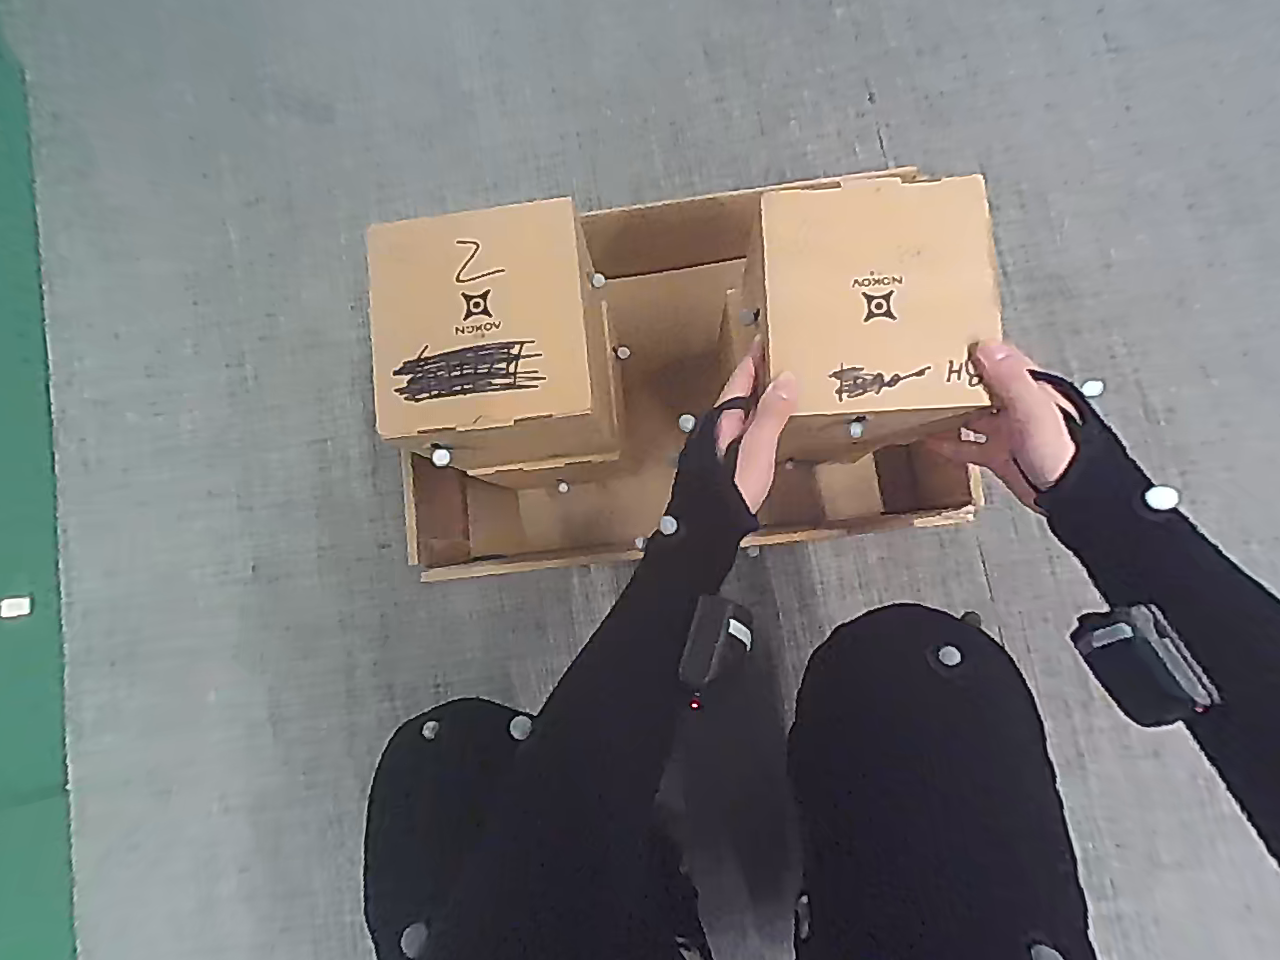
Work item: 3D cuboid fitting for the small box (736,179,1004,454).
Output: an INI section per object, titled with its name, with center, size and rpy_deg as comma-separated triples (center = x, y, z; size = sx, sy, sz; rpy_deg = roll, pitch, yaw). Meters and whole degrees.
[small box]
center = 0.177, -0.125, 0.473
size = 0.168, 0.176, 0.179
rpy_deg = -3, 83, 5
